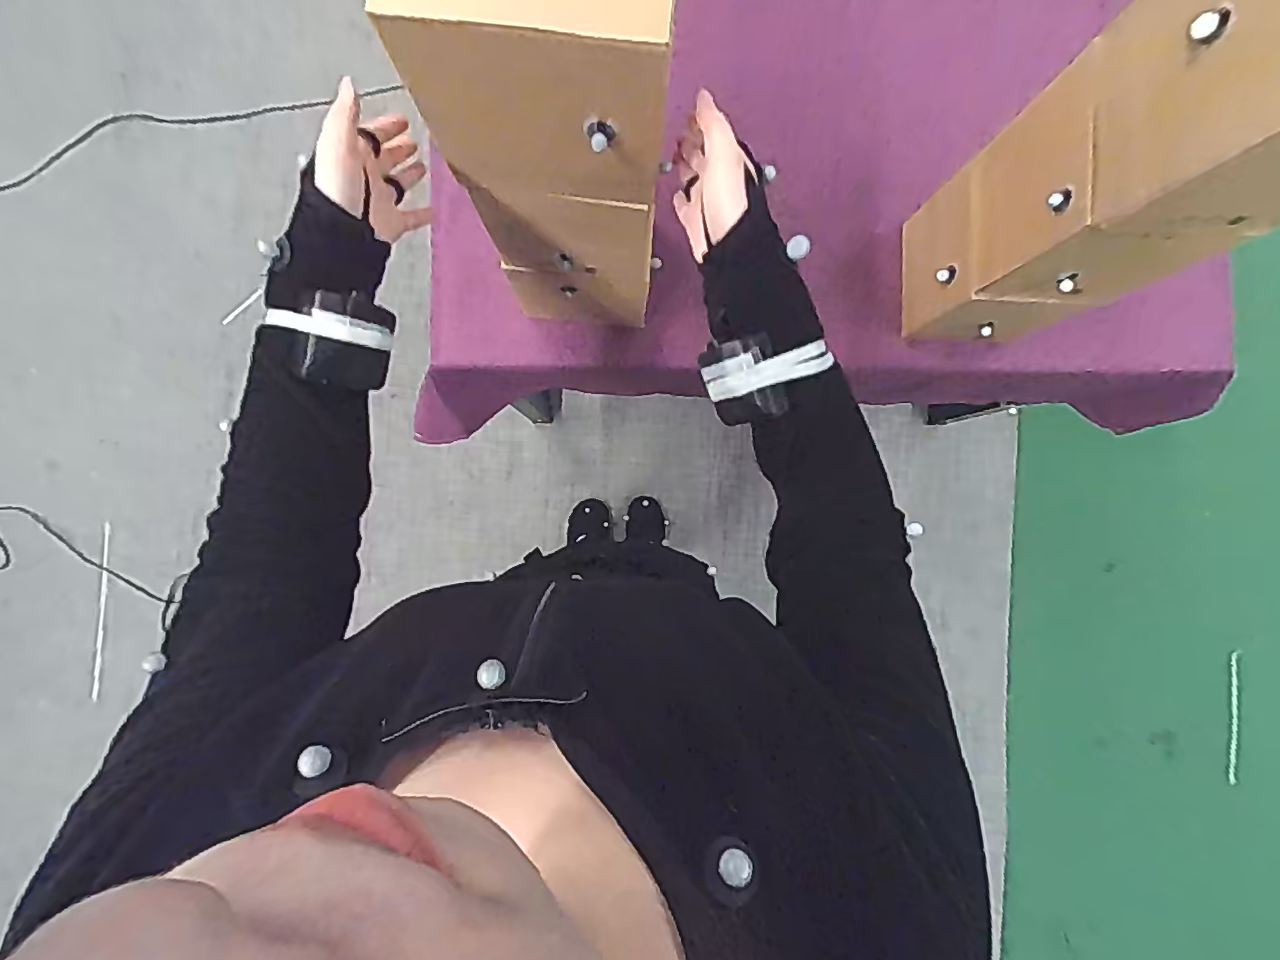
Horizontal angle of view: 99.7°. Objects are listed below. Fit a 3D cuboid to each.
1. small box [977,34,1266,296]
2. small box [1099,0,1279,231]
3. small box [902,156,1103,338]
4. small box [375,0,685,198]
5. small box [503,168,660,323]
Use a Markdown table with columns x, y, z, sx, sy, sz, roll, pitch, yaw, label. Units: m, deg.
| x | y | z | sx | sy | sz | roll | pitch | yaw | label |
| --- | --- | --- | --- | --- | --- | --- | --- | --- | --- |
| 0.486 | -0.312 | 0.569 | 0.168 | 0.176 | 0.179 | 2 | 89 | -2 | small box |
| 0.491 | -0.313 | 0.404 | 0.168 | 0.176 | 0.179 | -2 | 88 | -1 | small box |
| 0.476 | -0.300 | 0.731 | 0.168 | 0.176 | 0.179 | 2 | 88 | -2 | small box |
| -0.059 | -0.330 | 0.390 | 0.179 | 0.176 | 0.168 | 5 | 88 | -1 | small box |
| -0.070 | -0.318 | 0.717 | 0.179 | 0.176 | 0.168 | 4 | 88 | -2 | small box |
